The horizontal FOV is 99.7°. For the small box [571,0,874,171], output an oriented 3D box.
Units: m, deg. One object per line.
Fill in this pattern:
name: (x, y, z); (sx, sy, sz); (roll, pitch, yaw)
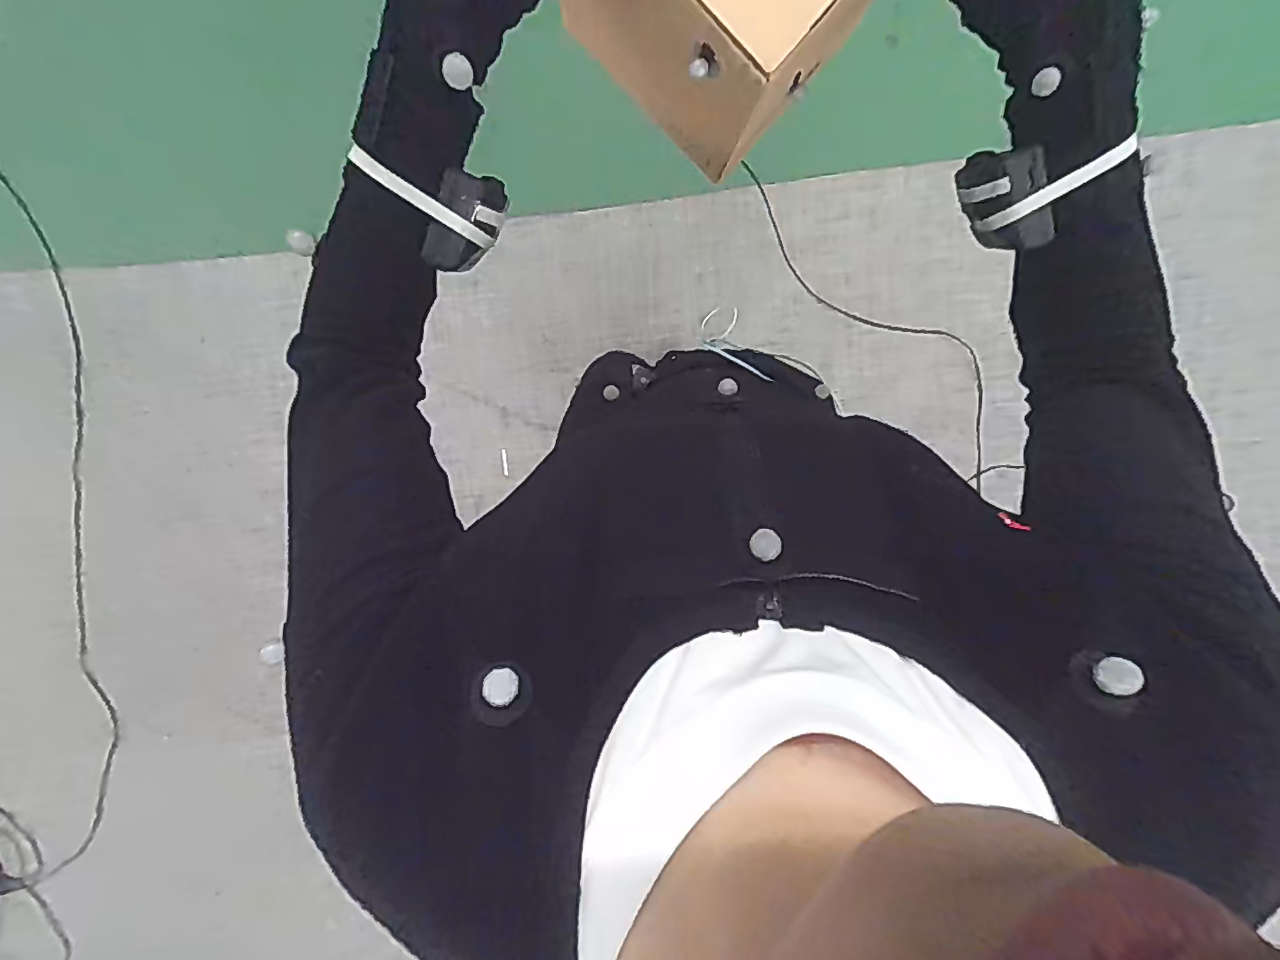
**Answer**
small box: (0.060, -0.355, 0.365); (0.179, 0.176, 0.168); (42, 96, -9)
